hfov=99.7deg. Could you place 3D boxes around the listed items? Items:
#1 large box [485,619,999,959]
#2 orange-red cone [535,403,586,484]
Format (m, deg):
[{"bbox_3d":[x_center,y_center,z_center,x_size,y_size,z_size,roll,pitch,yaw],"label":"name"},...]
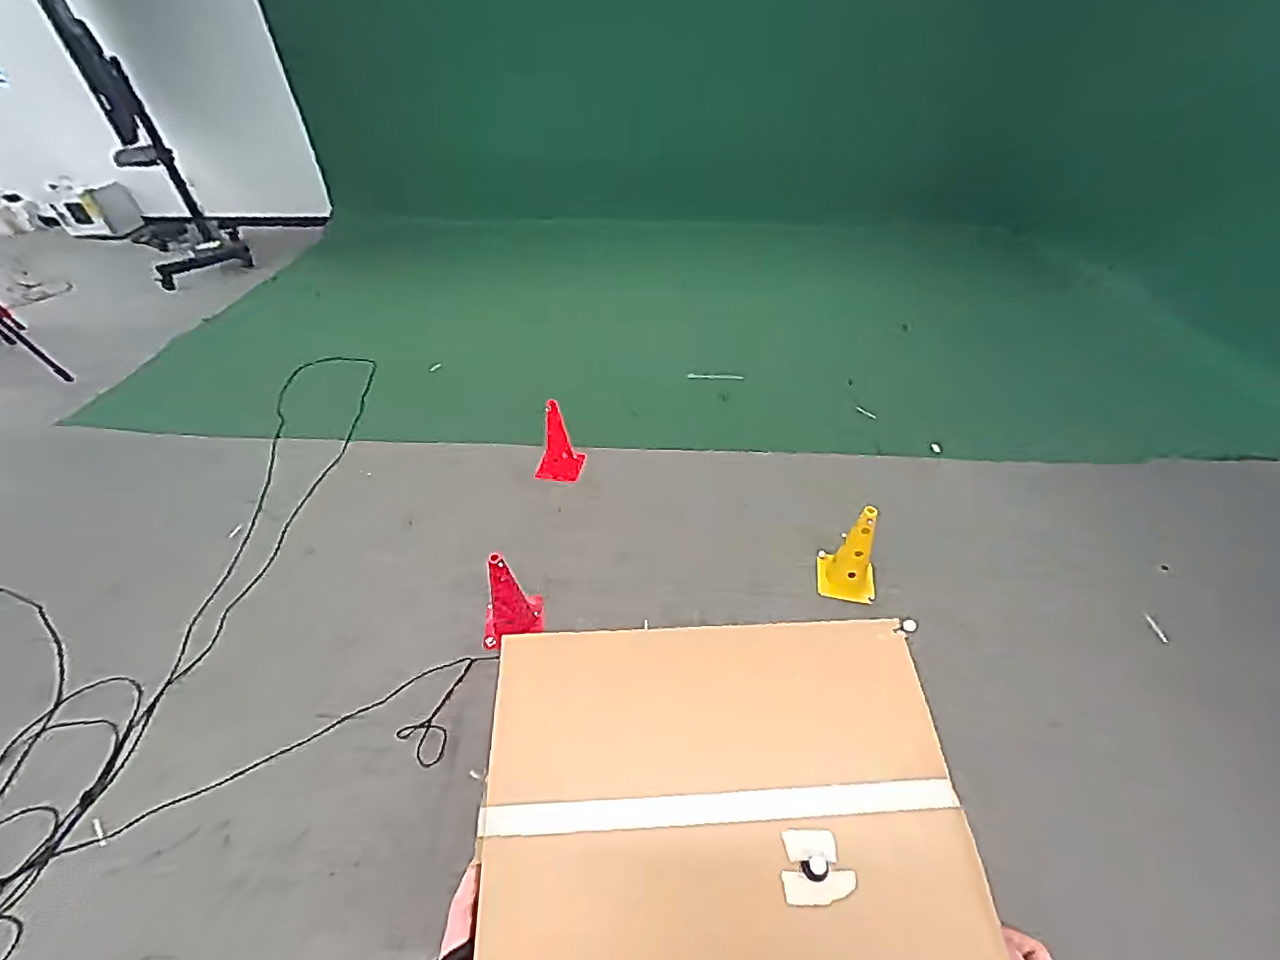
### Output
[{"bbox_3d":[0.067,0.366,0.596,0.408,0.320,0.320,-2,57,-3],"label":"large box"},{"bbox_3d":[-0.370,-0.181,2.379,0.199,0.360,0.198,6,42,10],"label":"orange-red cone"}]
